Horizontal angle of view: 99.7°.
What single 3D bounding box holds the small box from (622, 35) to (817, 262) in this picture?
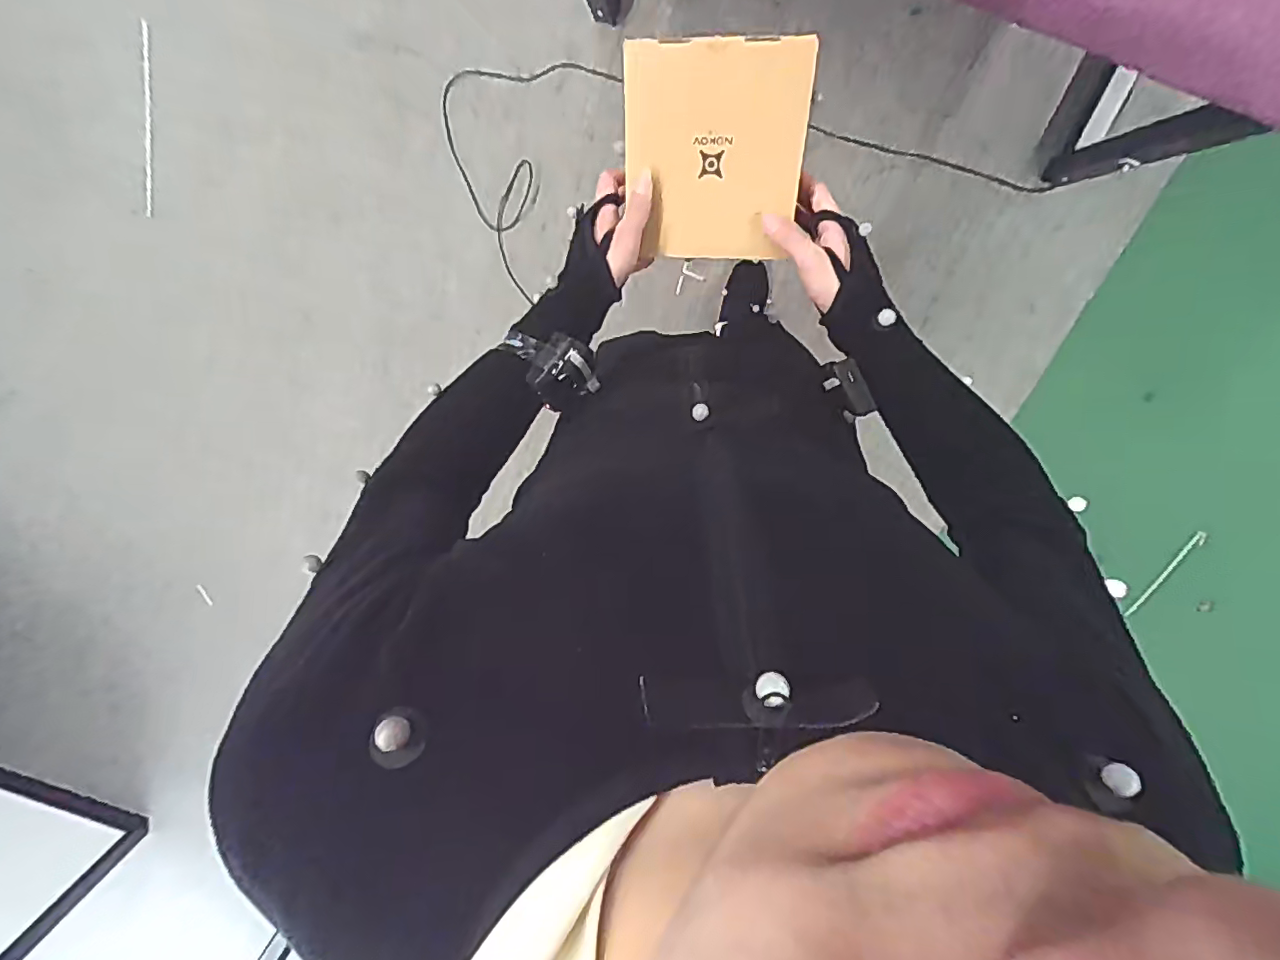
[{"bbox_3d":[0.077,-0.336,0.560,0.168,0.176,0.179,5,121,7],"label":"small box"}]
